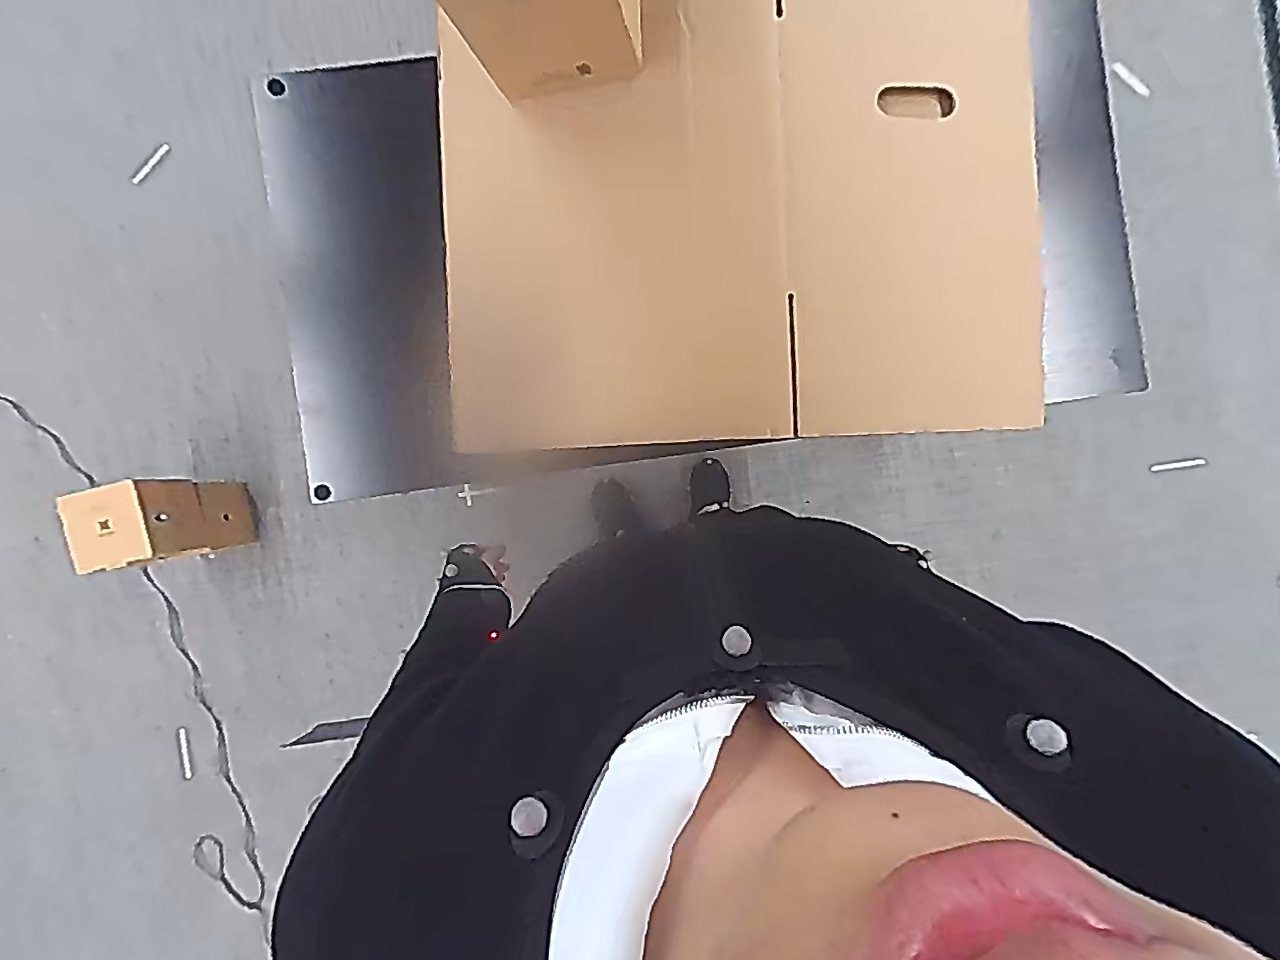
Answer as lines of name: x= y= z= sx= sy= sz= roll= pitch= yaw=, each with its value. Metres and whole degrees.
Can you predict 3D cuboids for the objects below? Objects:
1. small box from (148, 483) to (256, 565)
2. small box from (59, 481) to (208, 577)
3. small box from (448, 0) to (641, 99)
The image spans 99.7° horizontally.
small box: x=-1.140 y=0.109 z=1.395 sx=0.168 sy=0.176 sz=0.179 roll=-12 pitch=91 yaw=-1
small box: x=-1.139 y=0.104 z=1.232 sx=0.168 sy=0.176 sz=0.179 roll=-15 pitch=90 yaw=-2
small box: x=-0.098 y=-0.527 z=0.530 sx=0.168 sy=0.176 sz=0.179 roll=-2 pitch=89 yaw=14
